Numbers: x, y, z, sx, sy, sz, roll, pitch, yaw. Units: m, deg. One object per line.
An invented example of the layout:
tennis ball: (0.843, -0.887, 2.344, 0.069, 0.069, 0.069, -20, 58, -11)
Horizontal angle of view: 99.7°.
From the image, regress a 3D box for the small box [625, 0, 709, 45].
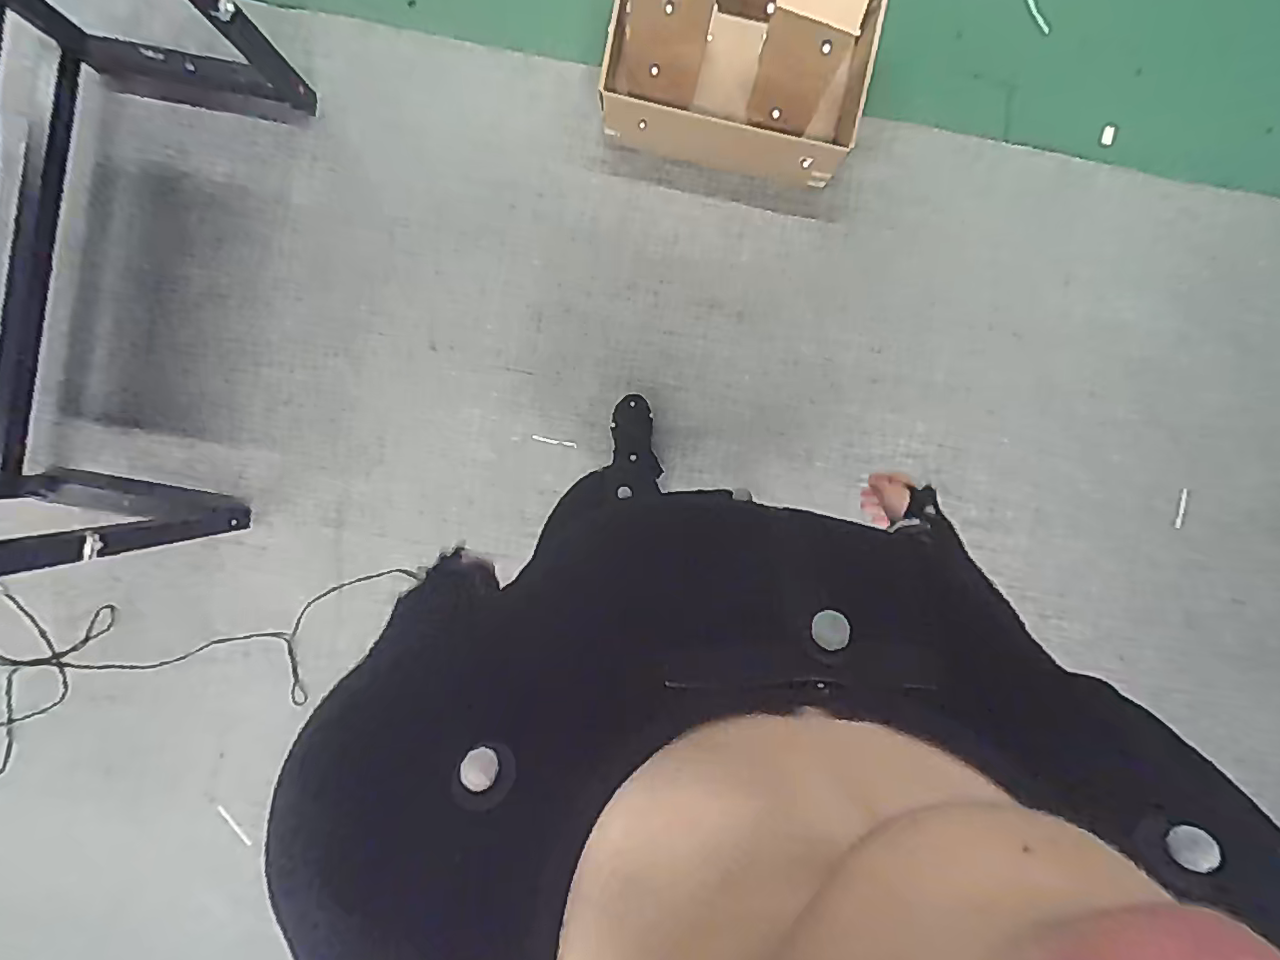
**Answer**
small box: (0.059, -1.051, 1.124, 0.179, 0.176, 0.168, 3, 95, -3)

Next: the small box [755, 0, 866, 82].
small box: (0.364, -0.987, 1.136, 0.179, 0.176, 0.168, 19, 93, -1)

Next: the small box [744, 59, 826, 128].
small box: (0.363, -1.001, 1.300, 0.168, 0.176, 0.179, 19, 94, -1)
